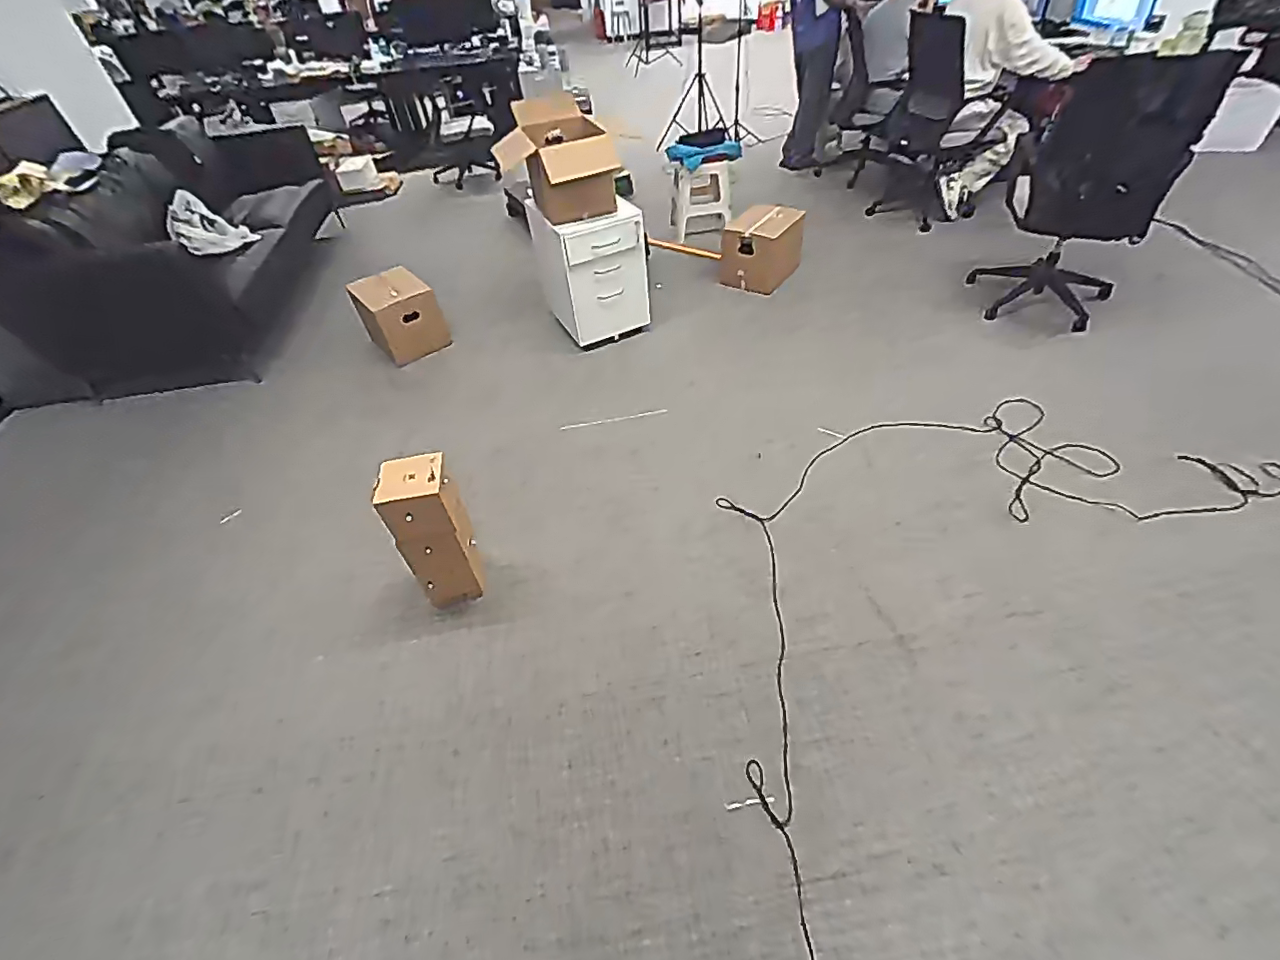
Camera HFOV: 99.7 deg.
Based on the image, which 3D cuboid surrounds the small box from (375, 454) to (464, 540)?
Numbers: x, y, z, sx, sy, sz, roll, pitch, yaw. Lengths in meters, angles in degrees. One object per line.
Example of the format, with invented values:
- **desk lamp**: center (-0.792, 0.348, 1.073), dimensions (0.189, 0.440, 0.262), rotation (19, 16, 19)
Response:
- **small box**: center (-0.622, 0.053, 1.545), dimensions (0.179, 0.176, 0.168), rotation (-11, 46, -3)

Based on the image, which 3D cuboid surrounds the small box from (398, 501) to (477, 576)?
- **small box**: center (-0.614, 0.174, 1.656), dimensions (0.179, 0.176, 0.168), rotation (-10, 46, -5)
